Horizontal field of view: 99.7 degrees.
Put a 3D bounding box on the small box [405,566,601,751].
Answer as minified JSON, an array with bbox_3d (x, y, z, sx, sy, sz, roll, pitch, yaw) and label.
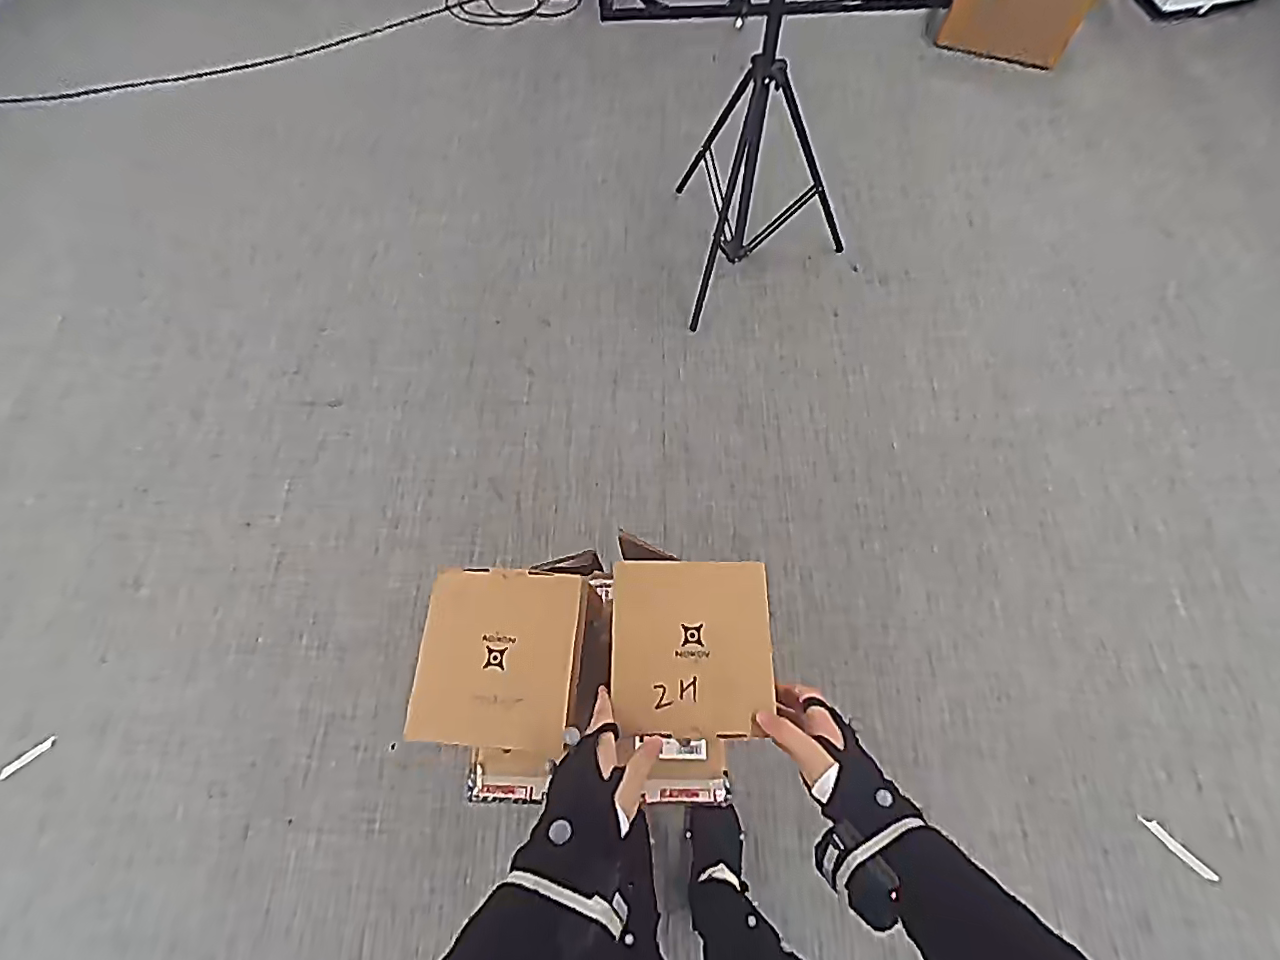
[{"bbox_3d":[-0.142,0.206,0.632,0.168,0.176,0.179,1,70,6],"label":"small box"}]

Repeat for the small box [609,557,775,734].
[{"bbox_3d":[0.051,0.195,0.629,0.168,0.176,0.179,0,68,1],"label":"small box"}]
